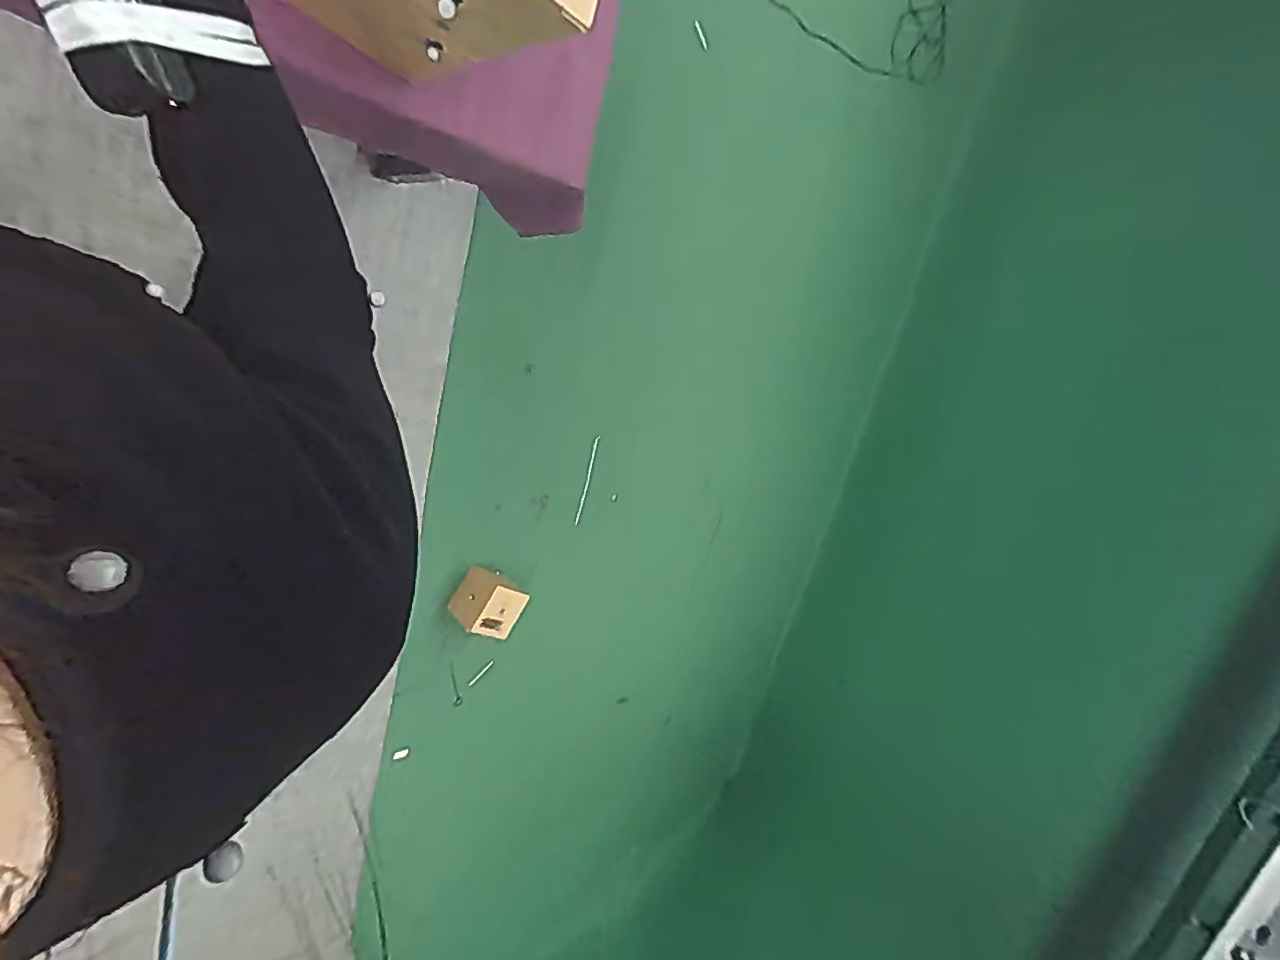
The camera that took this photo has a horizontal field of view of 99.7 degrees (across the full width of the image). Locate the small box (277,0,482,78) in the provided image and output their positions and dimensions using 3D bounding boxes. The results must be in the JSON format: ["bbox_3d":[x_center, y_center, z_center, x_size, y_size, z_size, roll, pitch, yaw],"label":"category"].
[{"bbox_3d":[-0.257,-0.539,0.536,0.179,0.176,0.168,5,106,-49],"label":"small box"}]

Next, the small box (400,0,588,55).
[{"bbox_3d":[-0.140,-0.485,0.433,0.168,0.176,0.179,0,111,-48],"label":"small box"}]
